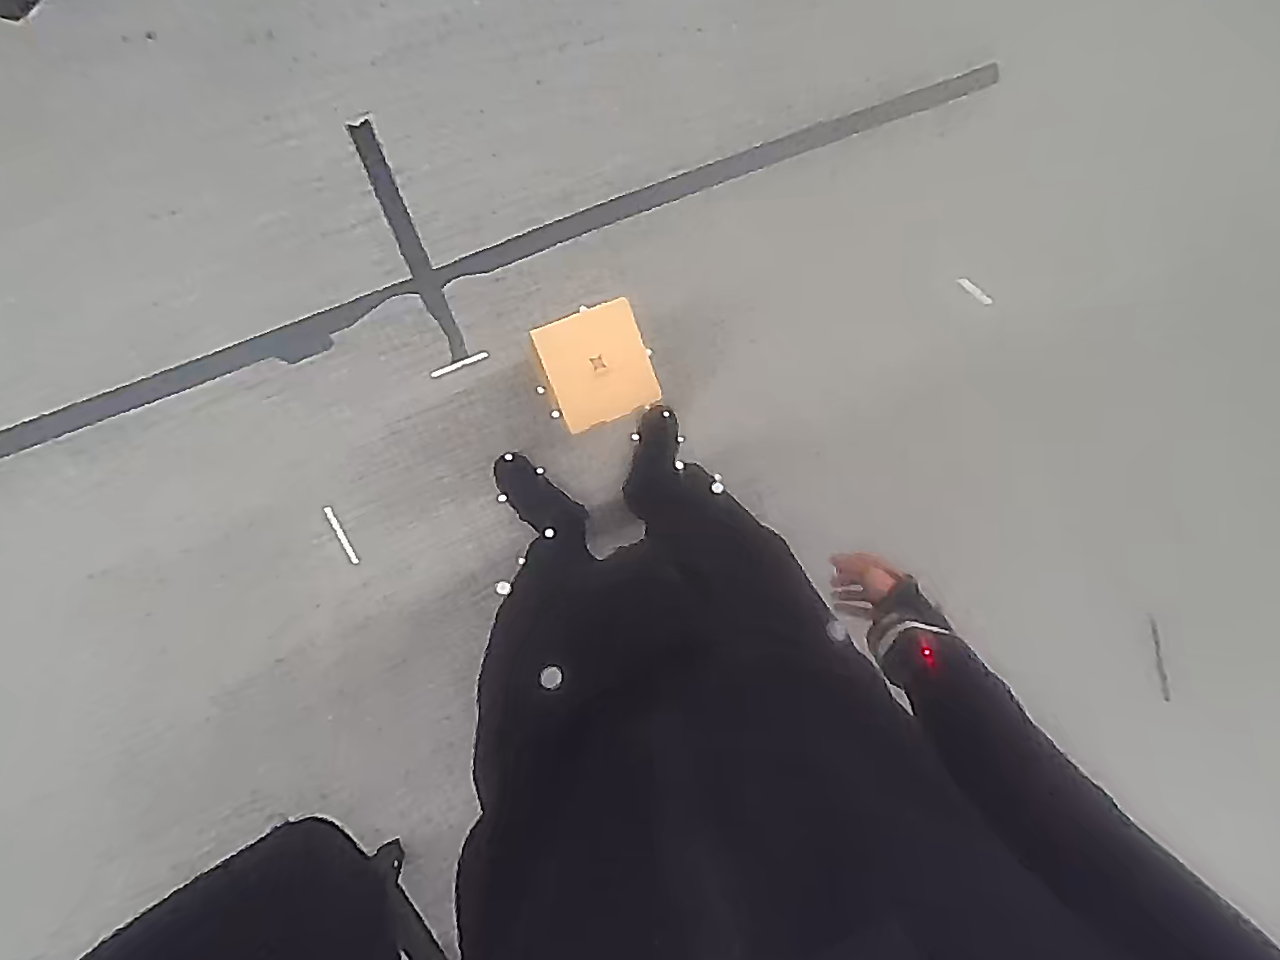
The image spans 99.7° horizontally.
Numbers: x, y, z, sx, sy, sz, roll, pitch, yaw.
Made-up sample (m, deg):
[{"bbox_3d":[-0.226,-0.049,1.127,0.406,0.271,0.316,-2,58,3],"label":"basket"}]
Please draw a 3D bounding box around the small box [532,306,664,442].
[{"bbox_3d":[-0.081,-0.180,0.941,0.168,0.176,0.179,-23,103,-8],"label":"small box"}]
